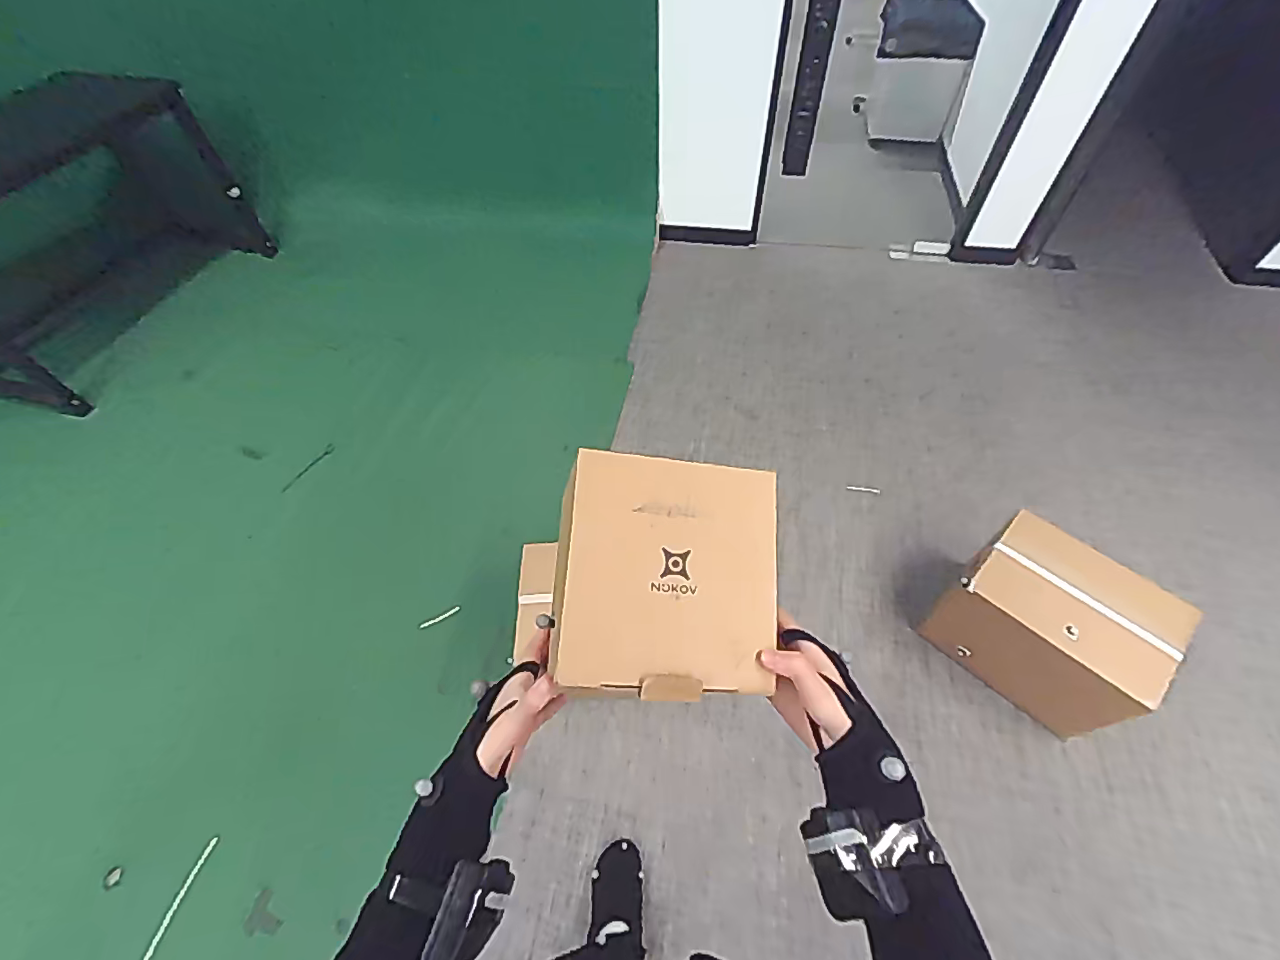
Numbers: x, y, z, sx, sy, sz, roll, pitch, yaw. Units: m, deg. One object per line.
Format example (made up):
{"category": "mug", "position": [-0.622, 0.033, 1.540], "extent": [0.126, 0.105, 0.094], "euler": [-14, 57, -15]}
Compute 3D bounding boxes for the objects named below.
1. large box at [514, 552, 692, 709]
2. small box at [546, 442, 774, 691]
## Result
{"category": "large box", "position": [-0.081, 0.383, 1.394], "extent": [0.408, 0.320, 0.320], "euler": [-4, 52, 1]}
{"category": "small box", "position": [0.008, 0.084, 0.484], "extent": [0.168, 0.176, 0.179], "euler": [7, 72, -10]}
